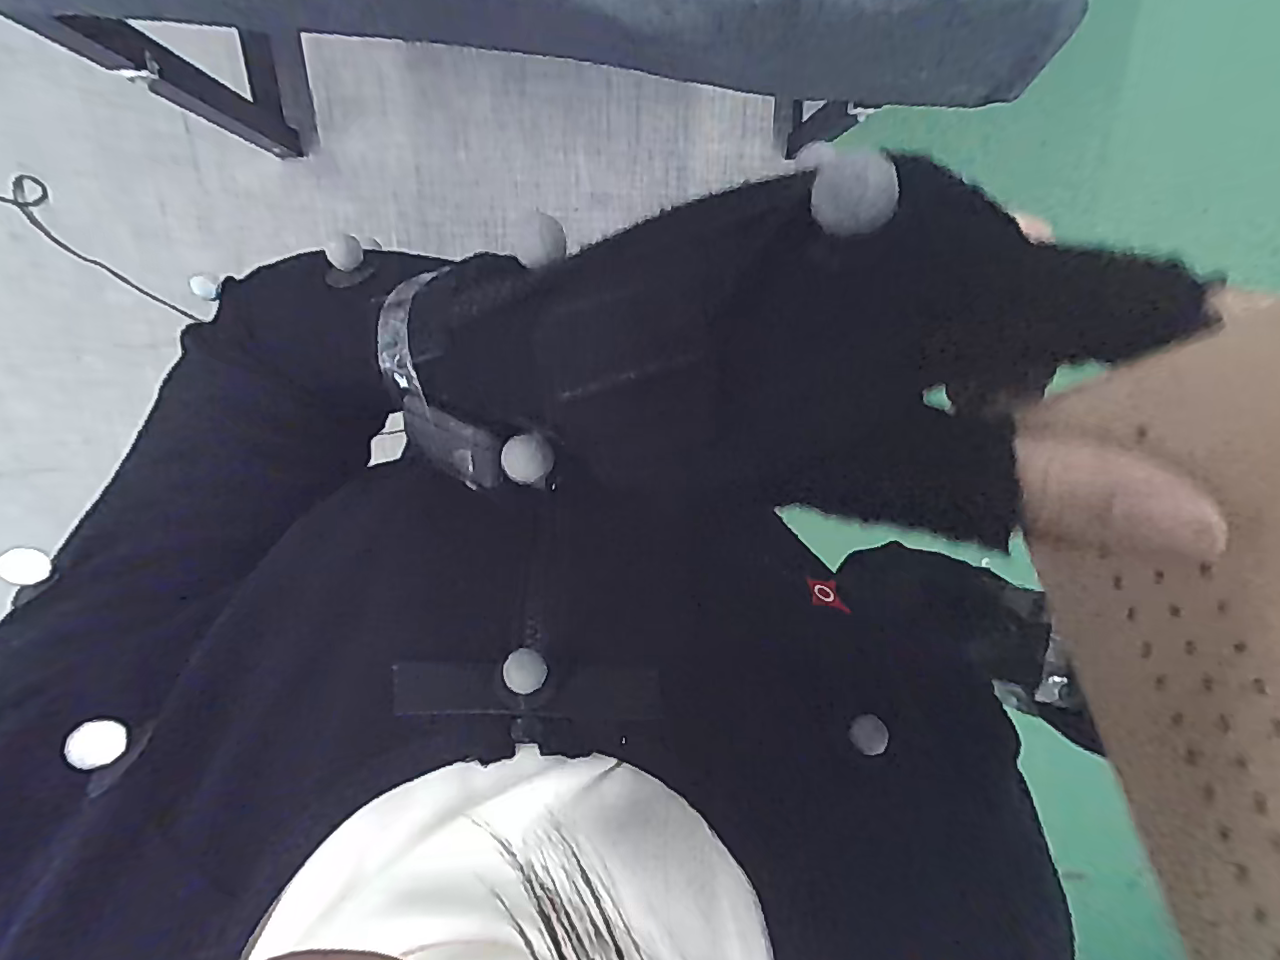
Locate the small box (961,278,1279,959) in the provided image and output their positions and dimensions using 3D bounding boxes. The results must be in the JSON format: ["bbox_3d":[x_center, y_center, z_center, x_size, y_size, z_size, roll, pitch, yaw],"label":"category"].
[{"bbox_3d":[0.198,0.036,0.088,0.168,0.176,0.179,-7,77,-29],"label":"small box"}]
